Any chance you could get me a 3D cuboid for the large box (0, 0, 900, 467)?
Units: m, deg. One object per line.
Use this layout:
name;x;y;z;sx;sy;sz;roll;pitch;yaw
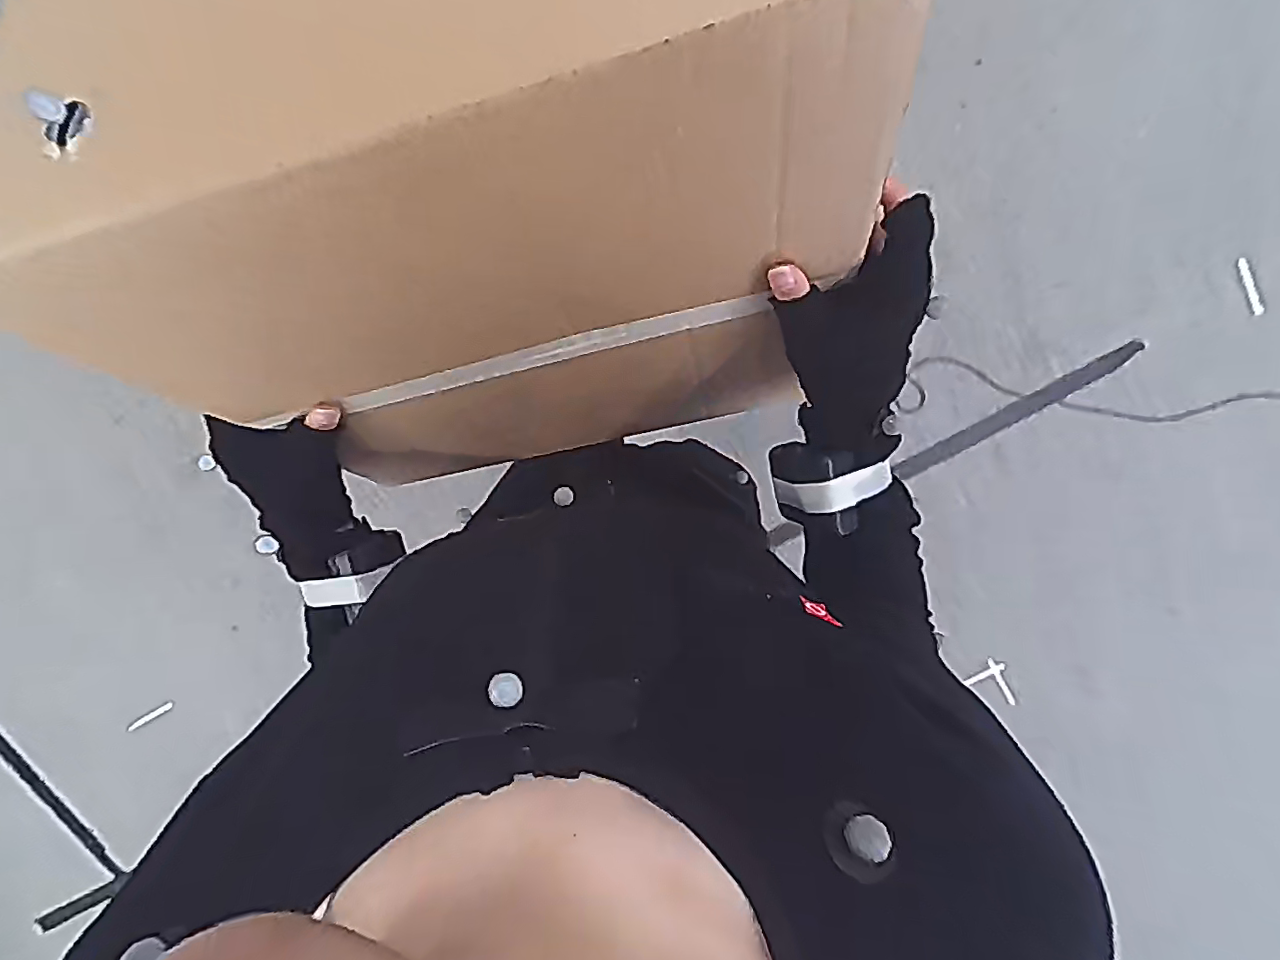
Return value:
large box;-0.094;-0.235;0.389;0.408;0.320;0.320;-11;72;8
